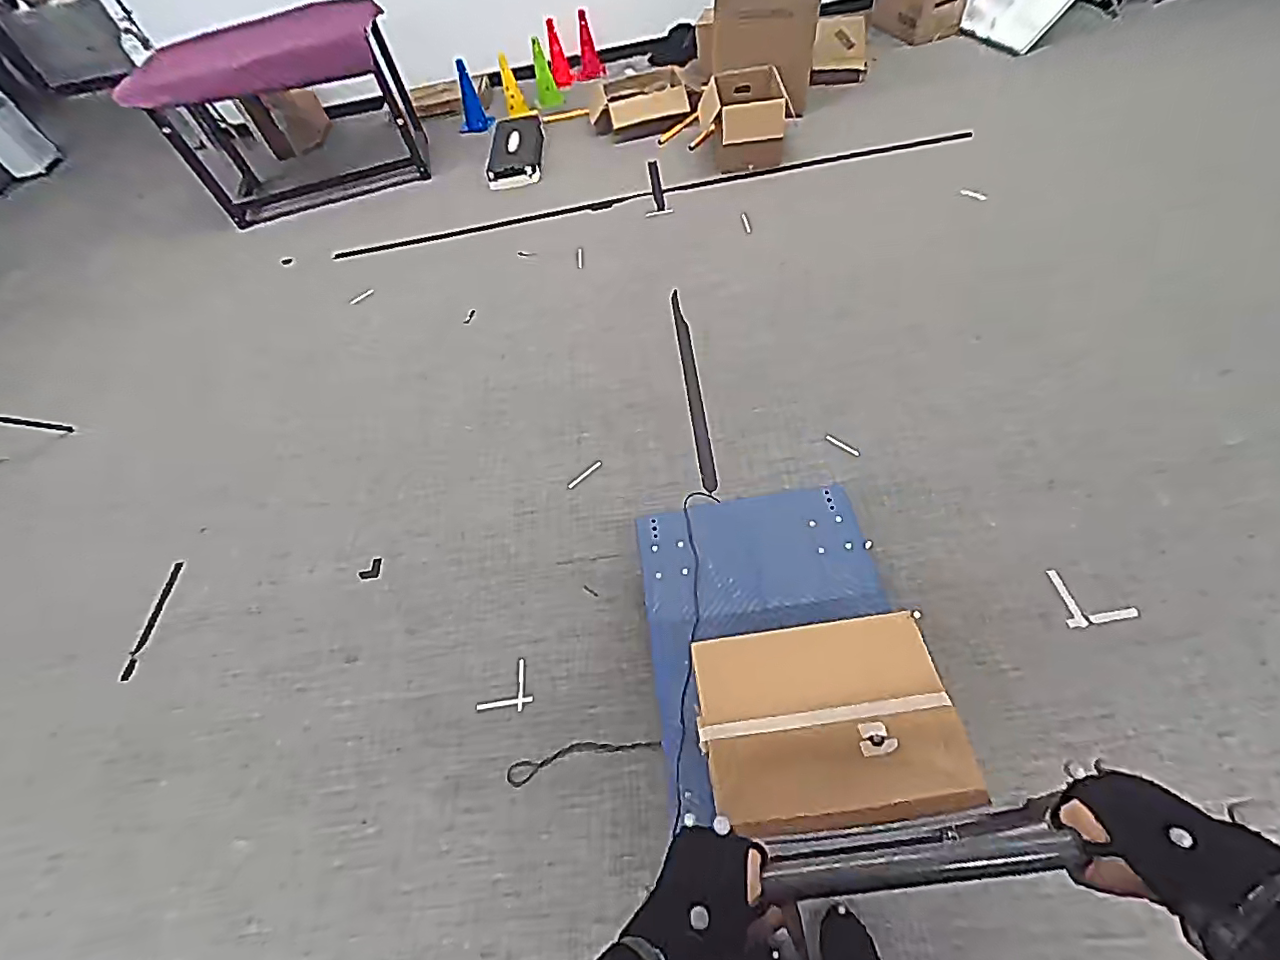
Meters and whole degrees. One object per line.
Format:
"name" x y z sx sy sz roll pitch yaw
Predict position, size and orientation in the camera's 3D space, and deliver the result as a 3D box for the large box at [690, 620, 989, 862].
"large box" 0.320 0.493 1.004 0.408 0.320 0.320 -9 54 2
